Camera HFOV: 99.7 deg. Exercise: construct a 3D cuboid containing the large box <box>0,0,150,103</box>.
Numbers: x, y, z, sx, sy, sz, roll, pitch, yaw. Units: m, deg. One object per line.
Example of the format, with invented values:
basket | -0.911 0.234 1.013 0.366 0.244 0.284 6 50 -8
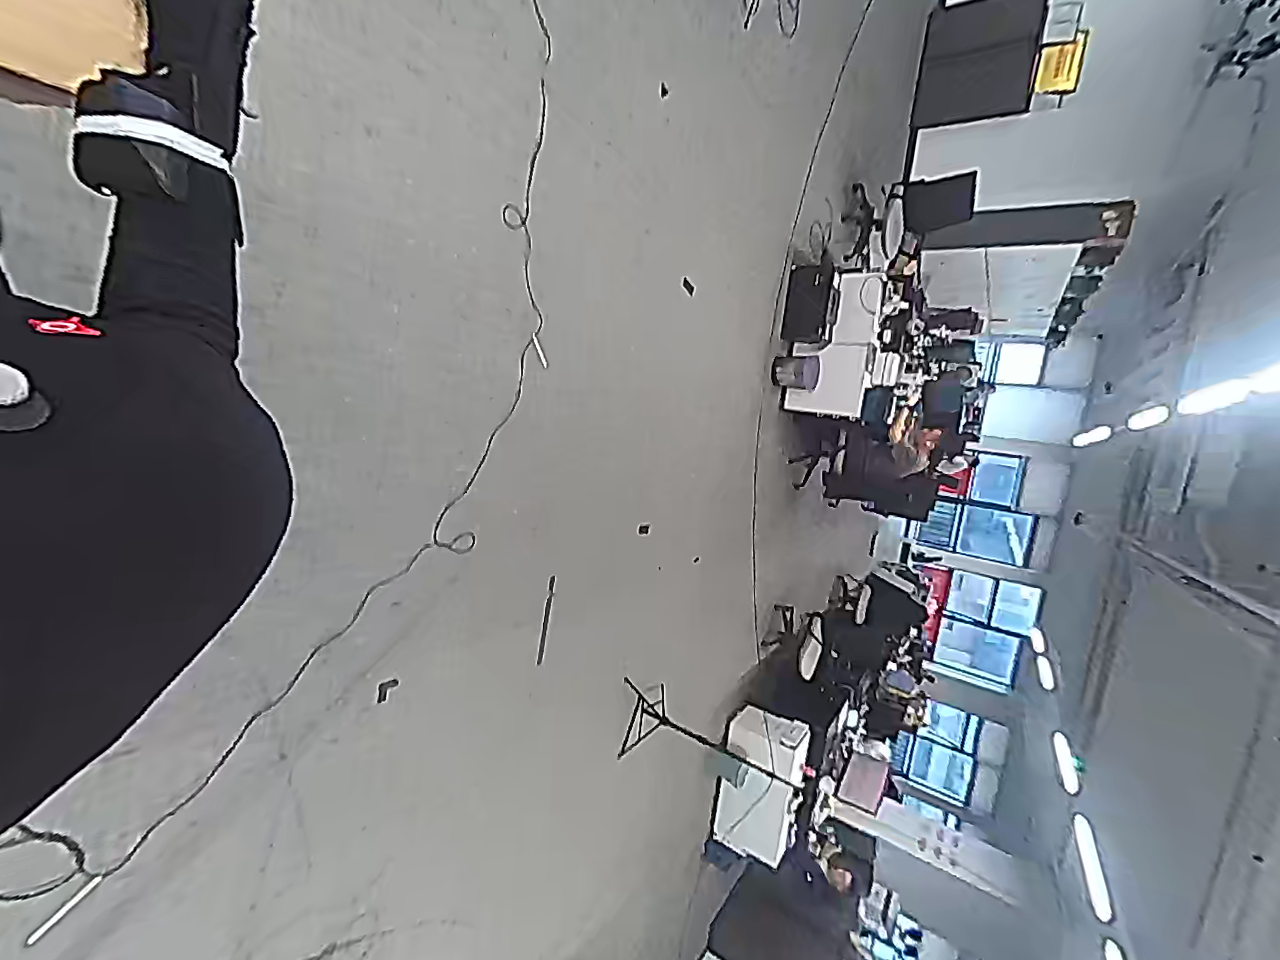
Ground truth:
large box | -0.545 -0.441 0.249 0.408 0.320 0.320 -11 122 -59
